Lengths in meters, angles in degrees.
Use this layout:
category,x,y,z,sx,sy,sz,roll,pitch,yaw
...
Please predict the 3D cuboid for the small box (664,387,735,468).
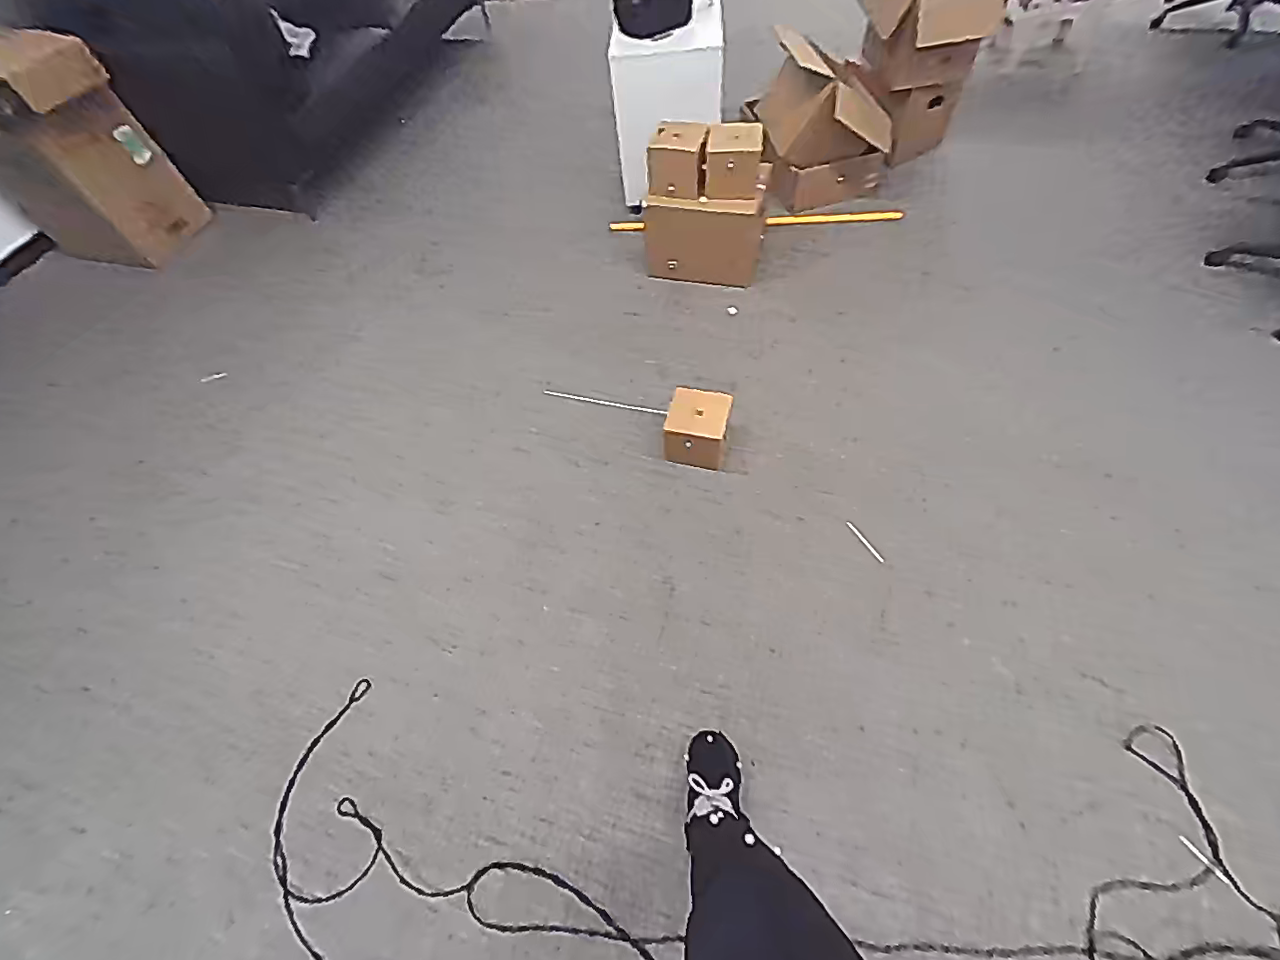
category,x,y,z,sx,sy,sz,roll,pitch,yaw
small box,0.182,-0.153,1.629,0.179,0.176,0.168,11,61,13
